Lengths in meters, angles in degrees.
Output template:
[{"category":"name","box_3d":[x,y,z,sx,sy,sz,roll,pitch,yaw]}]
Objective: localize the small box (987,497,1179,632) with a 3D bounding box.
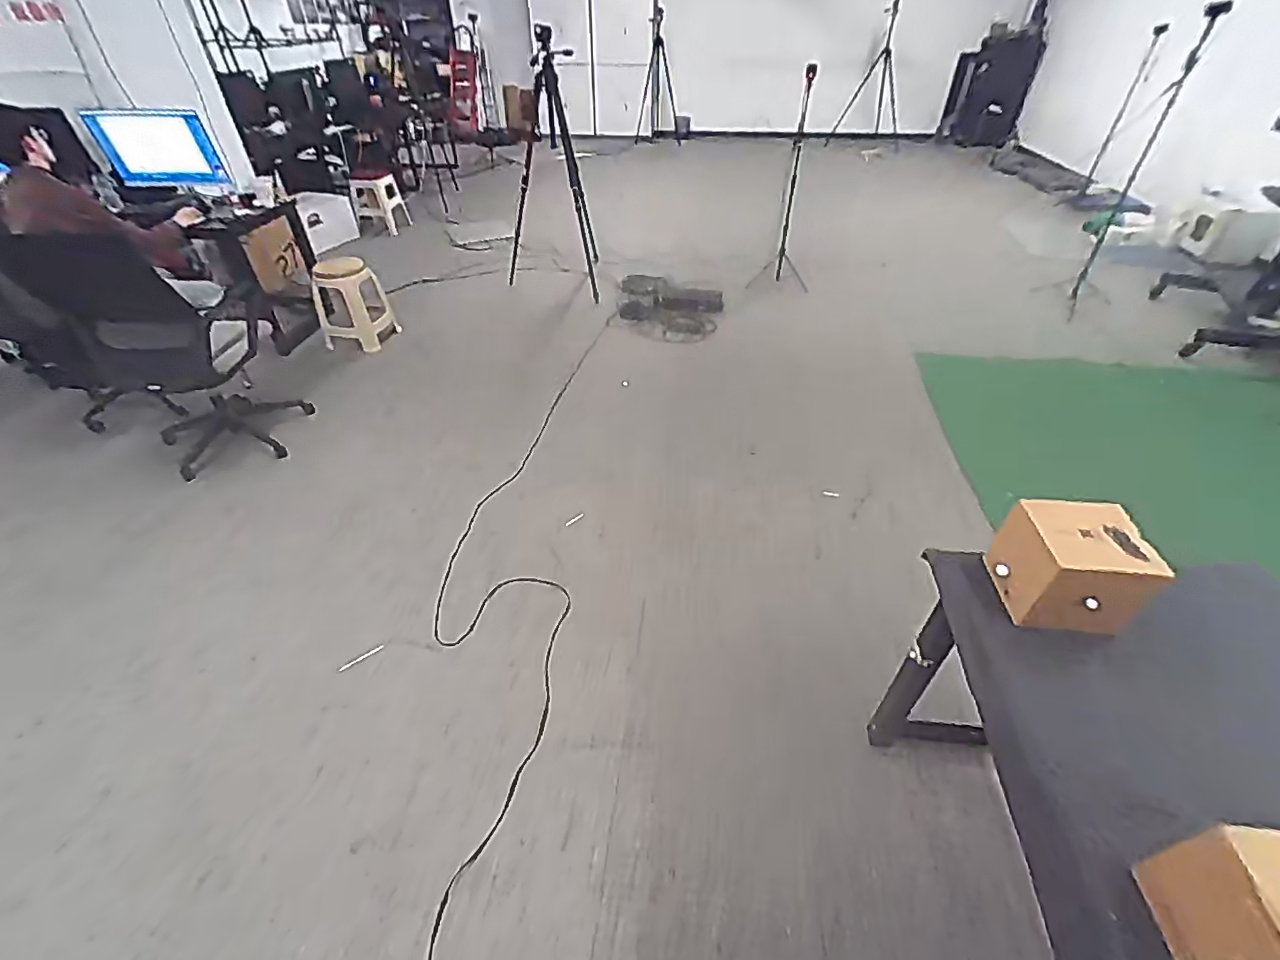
[{"category":"small box","box_3d":[0.766,0.153,0.961,0.179,0.176,0.168,4,41,5]}]

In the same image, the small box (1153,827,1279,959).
[{"category":"small box","box_3d":[0.708,0.494,0.570,0.179,0.176,0.168,5,42,3]}]
